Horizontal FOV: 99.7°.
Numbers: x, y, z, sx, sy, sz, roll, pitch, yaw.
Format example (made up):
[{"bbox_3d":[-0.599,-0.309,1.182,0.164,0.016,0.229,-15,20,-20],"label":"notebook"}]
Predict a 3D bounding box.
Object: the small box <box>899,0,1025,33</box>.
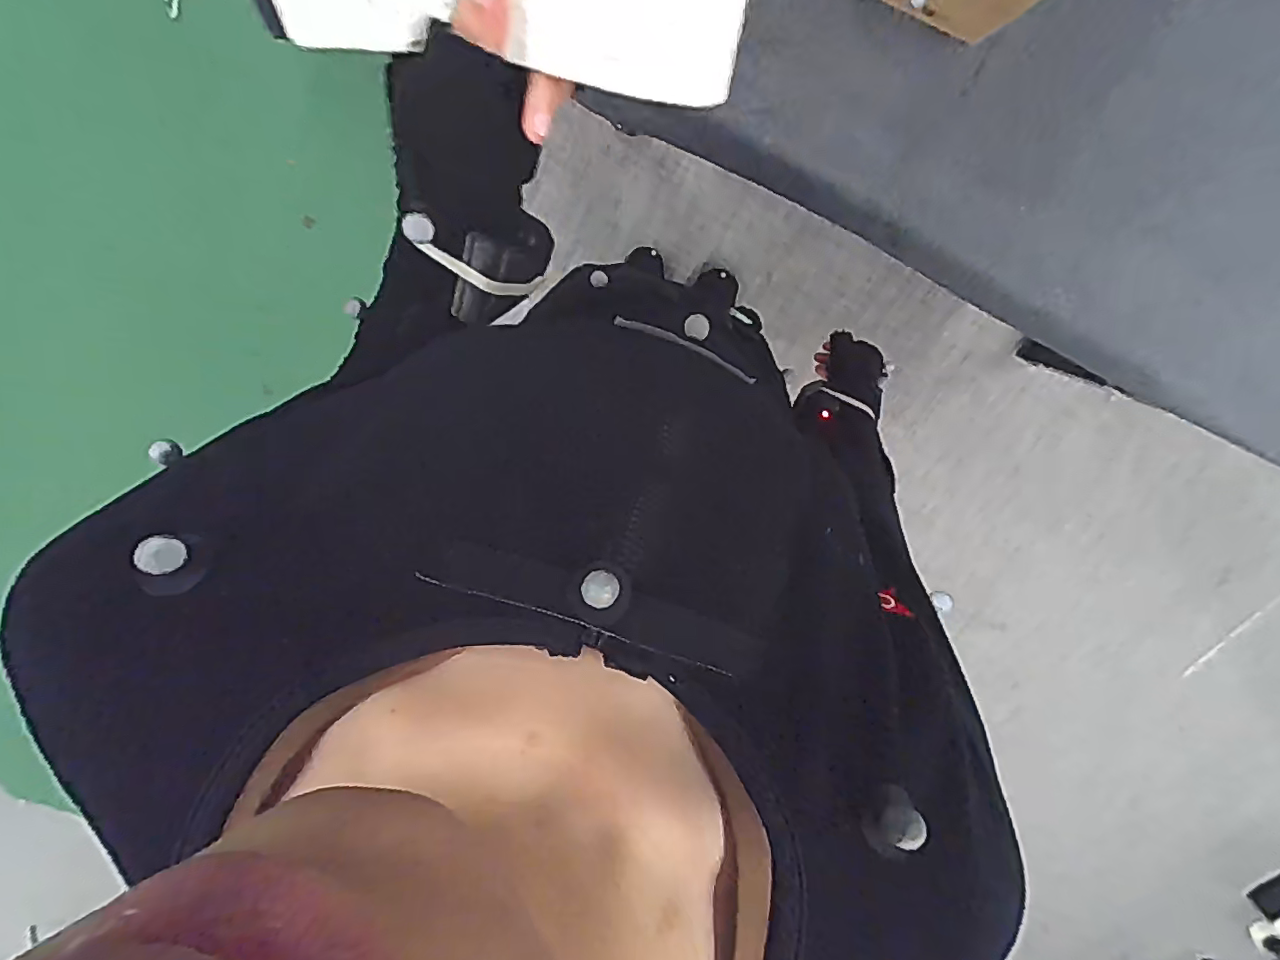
[{"bbox_3d":[0.285,-0.508,0.421,0.168,0.176,0.179,22,113,-4],"label":"small box"}]
